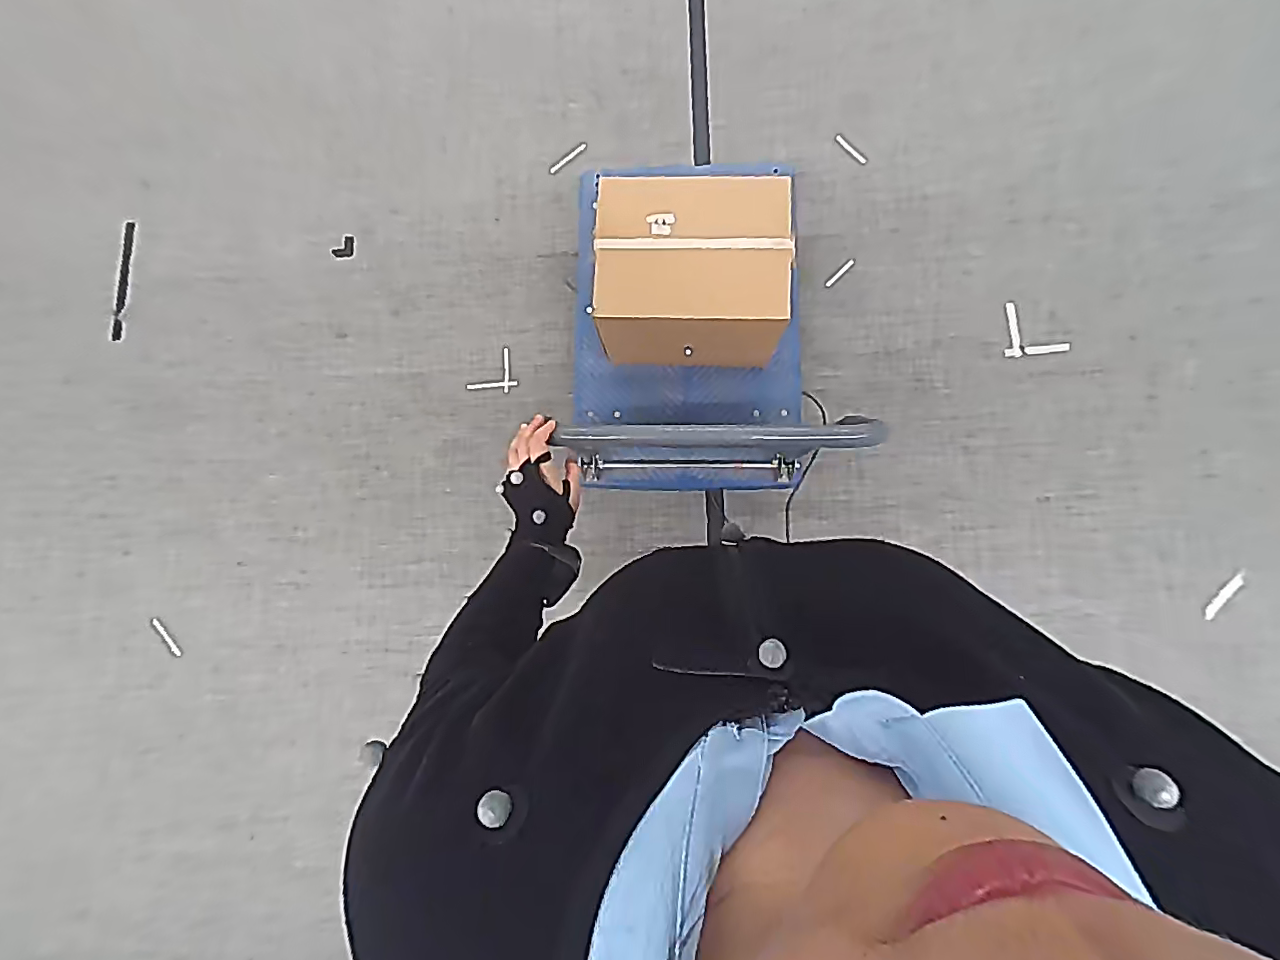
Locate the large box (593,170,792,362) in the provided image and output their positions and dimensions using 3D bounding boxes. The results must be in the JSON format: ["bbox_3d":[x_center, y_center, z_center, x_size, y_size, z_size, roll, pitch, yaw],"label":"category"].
[{"bbox_3d":[0.120,-0.466,1.248,0.408,0.320,0.320,2,82,5],"label":"large box"}]
